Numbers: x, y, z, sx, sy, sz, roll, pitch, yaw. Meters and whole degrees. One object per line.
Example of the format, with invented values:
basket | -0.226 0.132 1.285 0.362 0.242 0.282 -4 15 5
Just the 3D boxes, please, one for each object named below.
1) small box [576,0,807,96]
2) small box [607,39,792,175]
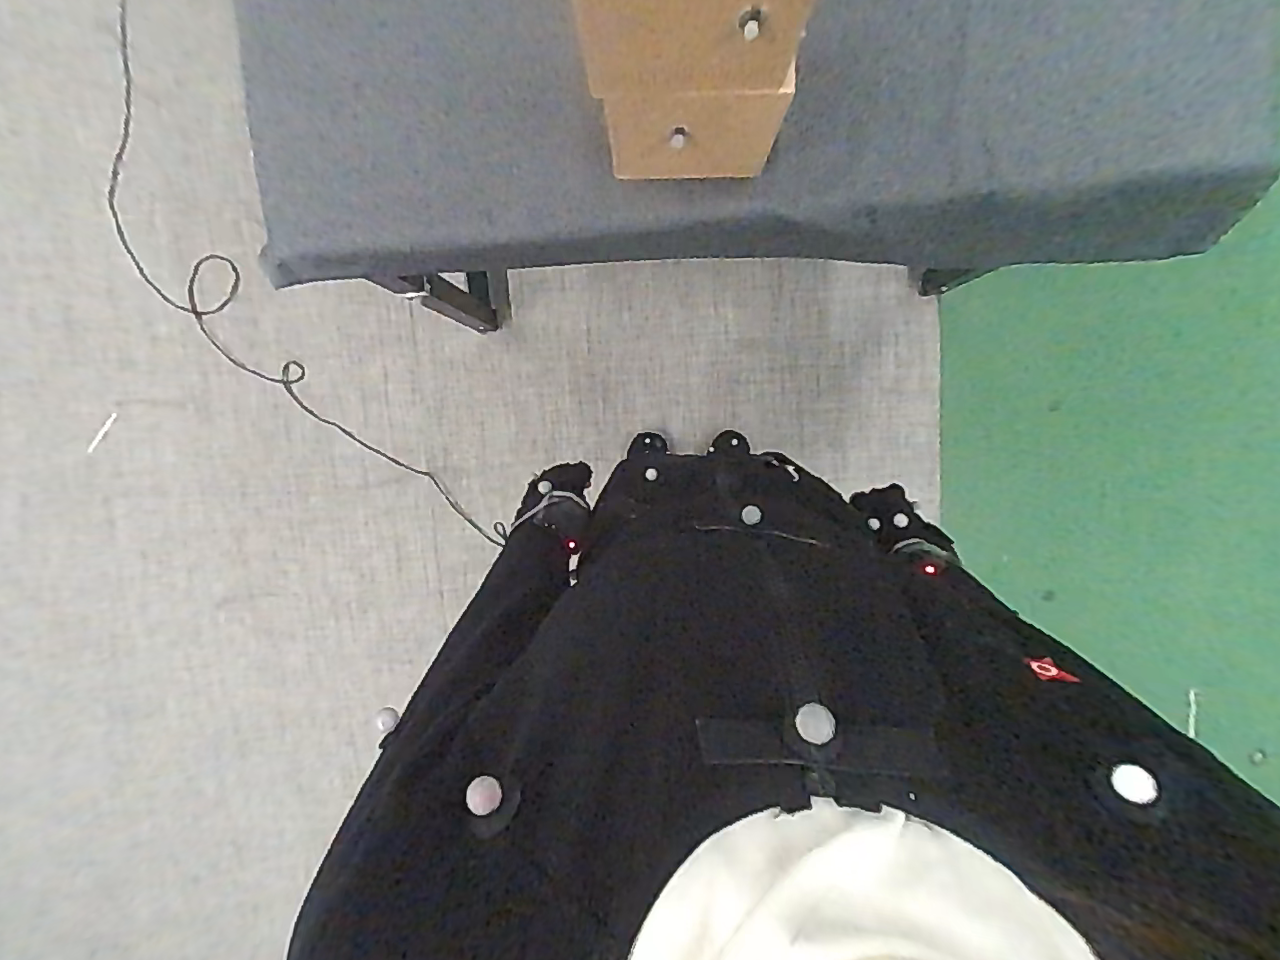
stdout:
small box | 0.039 -0.430 0.411 0.179 0.176 0.168 -2 94 2
small box | 0.056 -0.445 0.572 0.179 0.176 0.168 0 96 2
